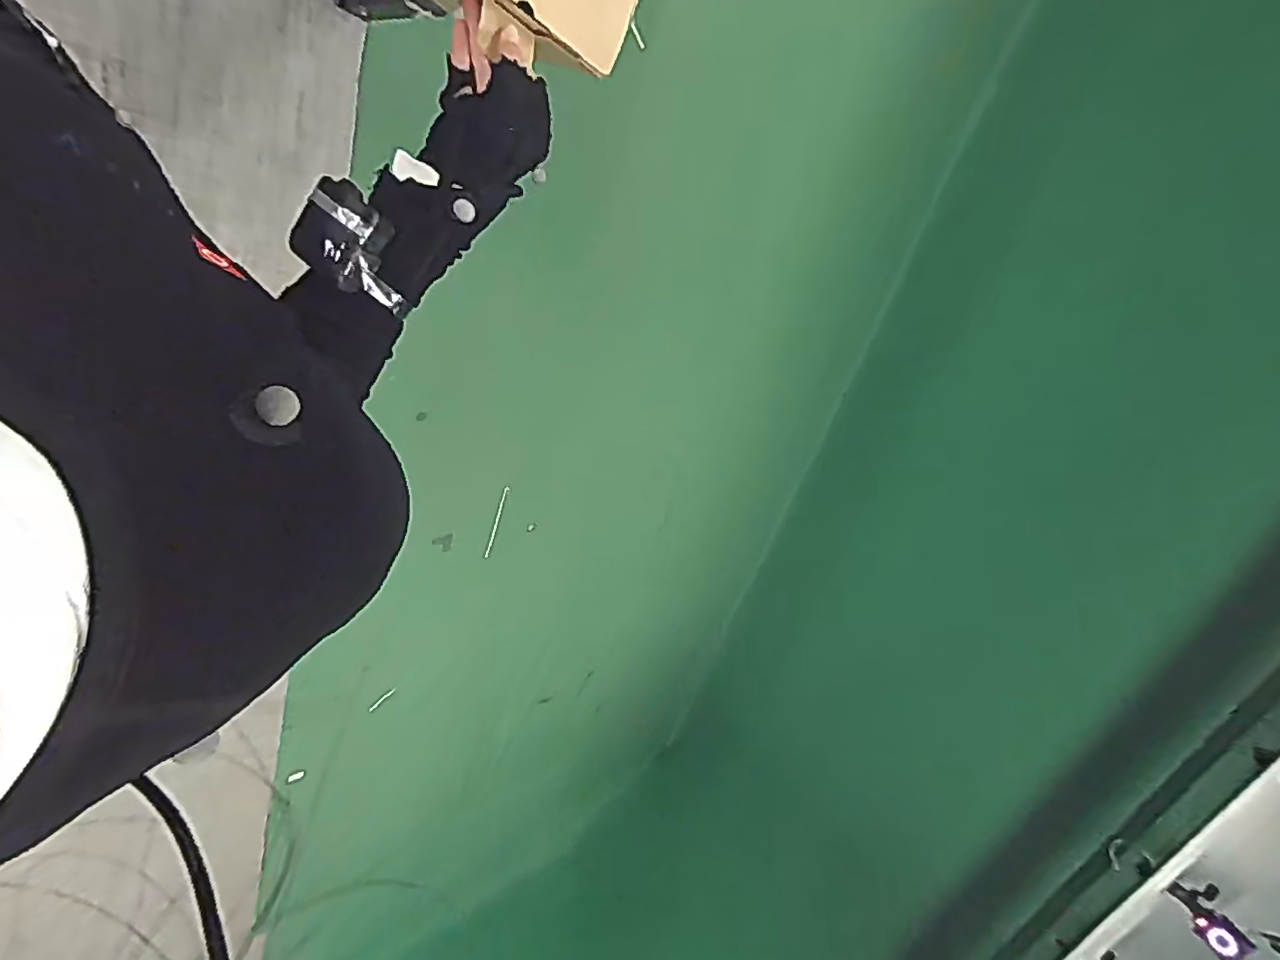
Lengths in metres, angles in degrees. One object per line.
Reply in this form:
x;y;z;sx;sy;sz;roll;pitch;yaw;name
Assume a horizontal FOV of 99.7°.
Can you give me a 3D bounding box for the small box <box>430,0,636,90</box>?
-0.097;-0.436;0.393;0.168;0.176;0.179;0;126;-50;small box
